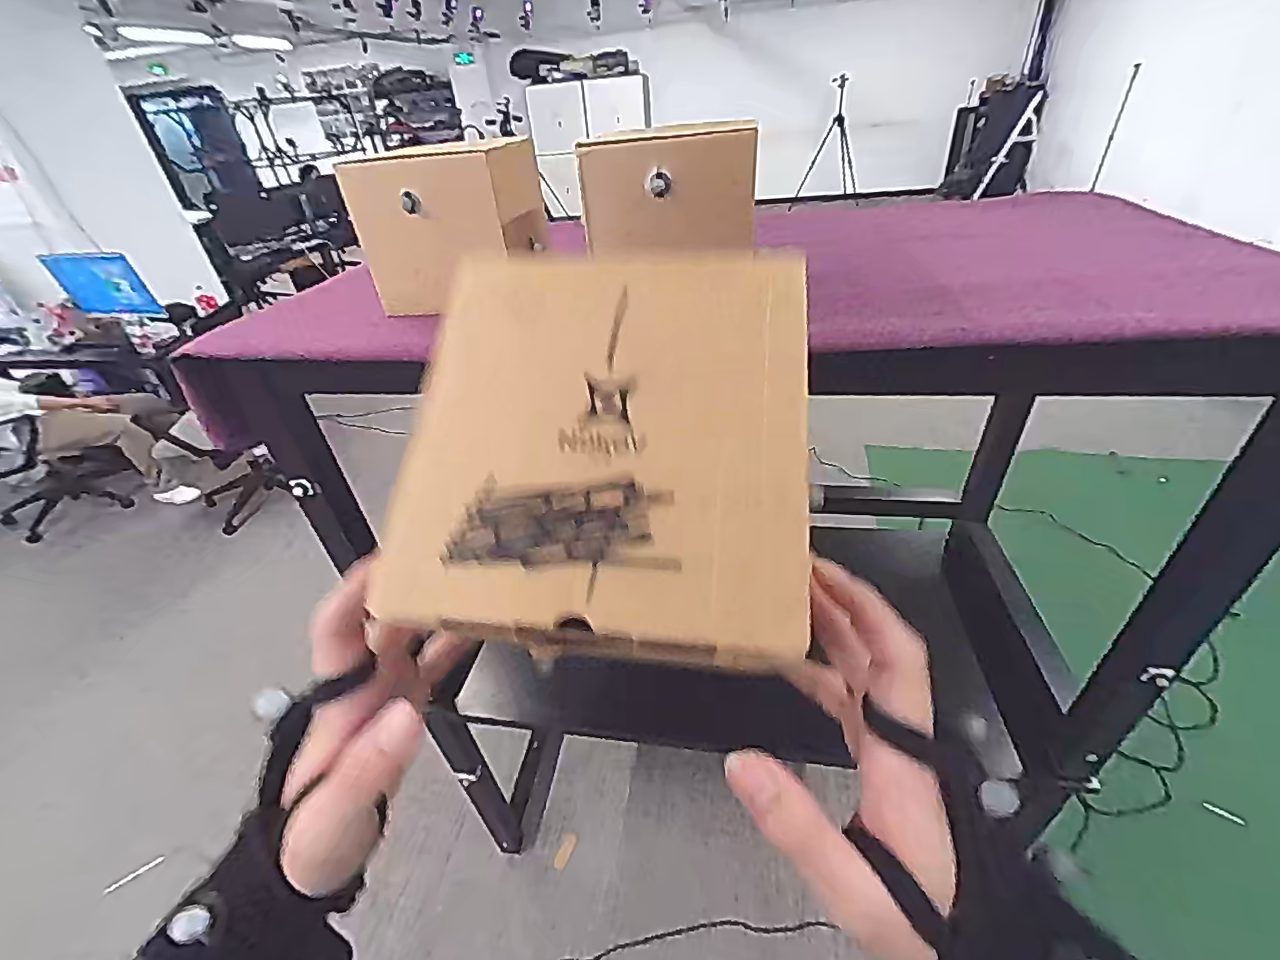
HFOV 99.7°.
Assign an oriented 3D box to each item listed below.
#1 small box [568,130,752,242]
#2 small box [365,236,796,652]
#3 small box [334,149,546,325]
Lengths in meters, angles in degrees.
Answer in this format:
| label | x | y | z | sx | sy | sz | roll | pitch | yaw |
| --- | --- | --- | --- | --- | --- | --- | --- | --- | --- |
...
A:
| label | x | y | z | sx | sy | sz | roll | pitch | yaw |
| --- | --- | --- | --- | --- | --- | --- | --- | --- | --- |
| small box | 0.036 | -0.288 | 0.615 | 0.179 | 0.176 | 0.168 | 2 | 36 | 11 |
| small box | -0.009 | -0.003 | 0.298 | 0.168 | 0.176 | 0.179 | 3 | 71 | 8 |
| small box | -0.226 | -0.300 | 0.673 | 0.179 | 0.176 | 0.168 | 0 | 36 | 9 |
